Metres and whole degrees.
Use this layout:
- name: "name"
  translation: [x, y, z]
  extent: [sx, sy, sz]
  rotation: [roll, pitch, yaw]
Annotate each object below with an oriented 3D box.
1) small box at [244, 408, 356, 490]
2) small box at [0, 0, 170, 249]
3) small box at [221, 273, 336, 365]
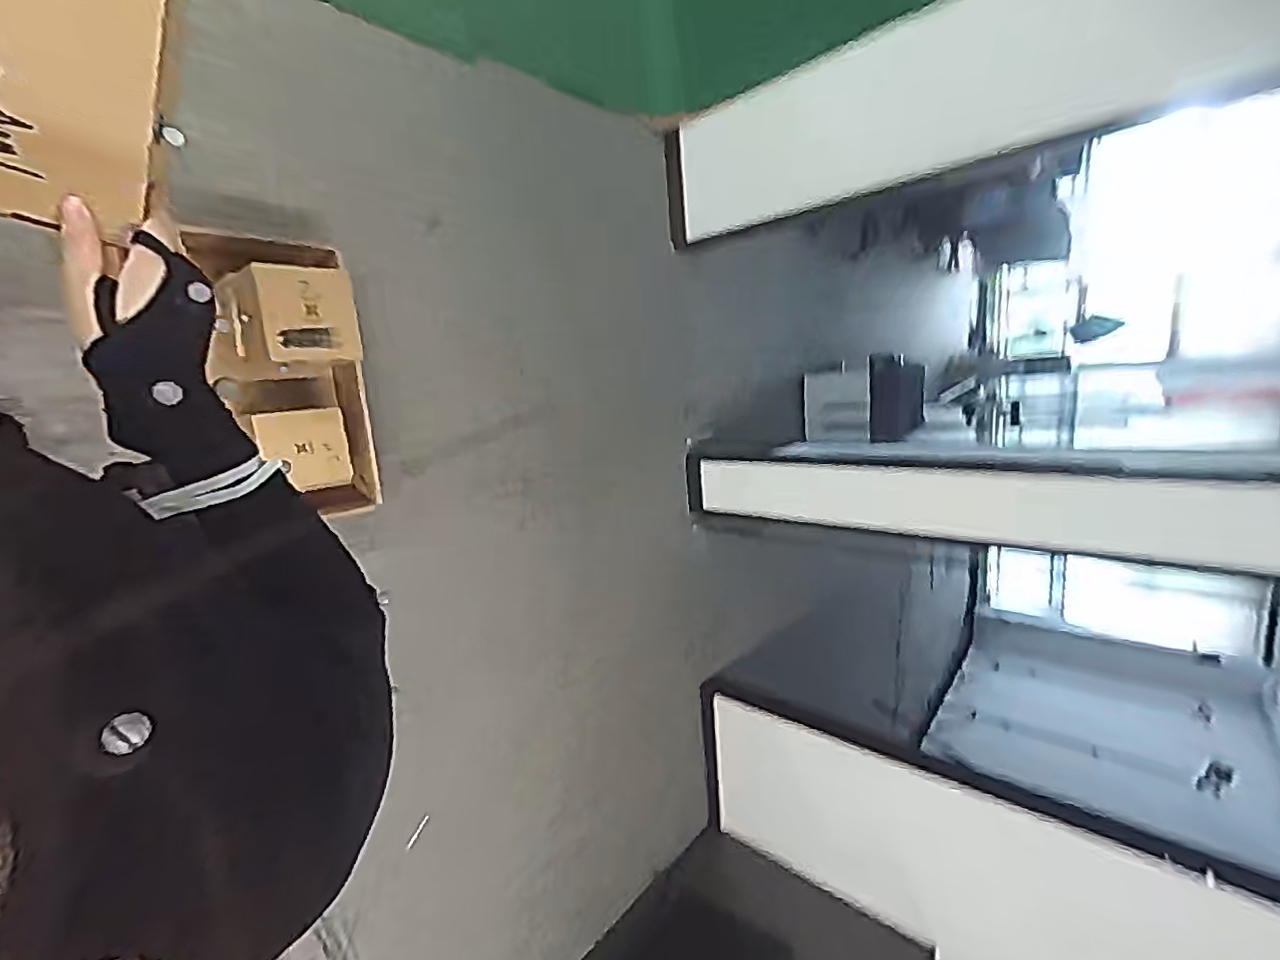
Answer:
- name: "small box"
  translation: [-0.784, -0.075, 1.242]
  extent: [0.179, 0.176, 0.168]
  rotation: [-15, 105, -46]
- name: "small box"
  translation: [-0.409, -0.276, 0.333]
  extent: [0.168, 0.176, 0.179]
  rotation: [6, 118, -41]
- name: "small box"
  translation: [-0.803, -0.345, 1.197]
  extent: [0.179, 0.176, 0.168]
  rotation: [-9, 102, -47]
